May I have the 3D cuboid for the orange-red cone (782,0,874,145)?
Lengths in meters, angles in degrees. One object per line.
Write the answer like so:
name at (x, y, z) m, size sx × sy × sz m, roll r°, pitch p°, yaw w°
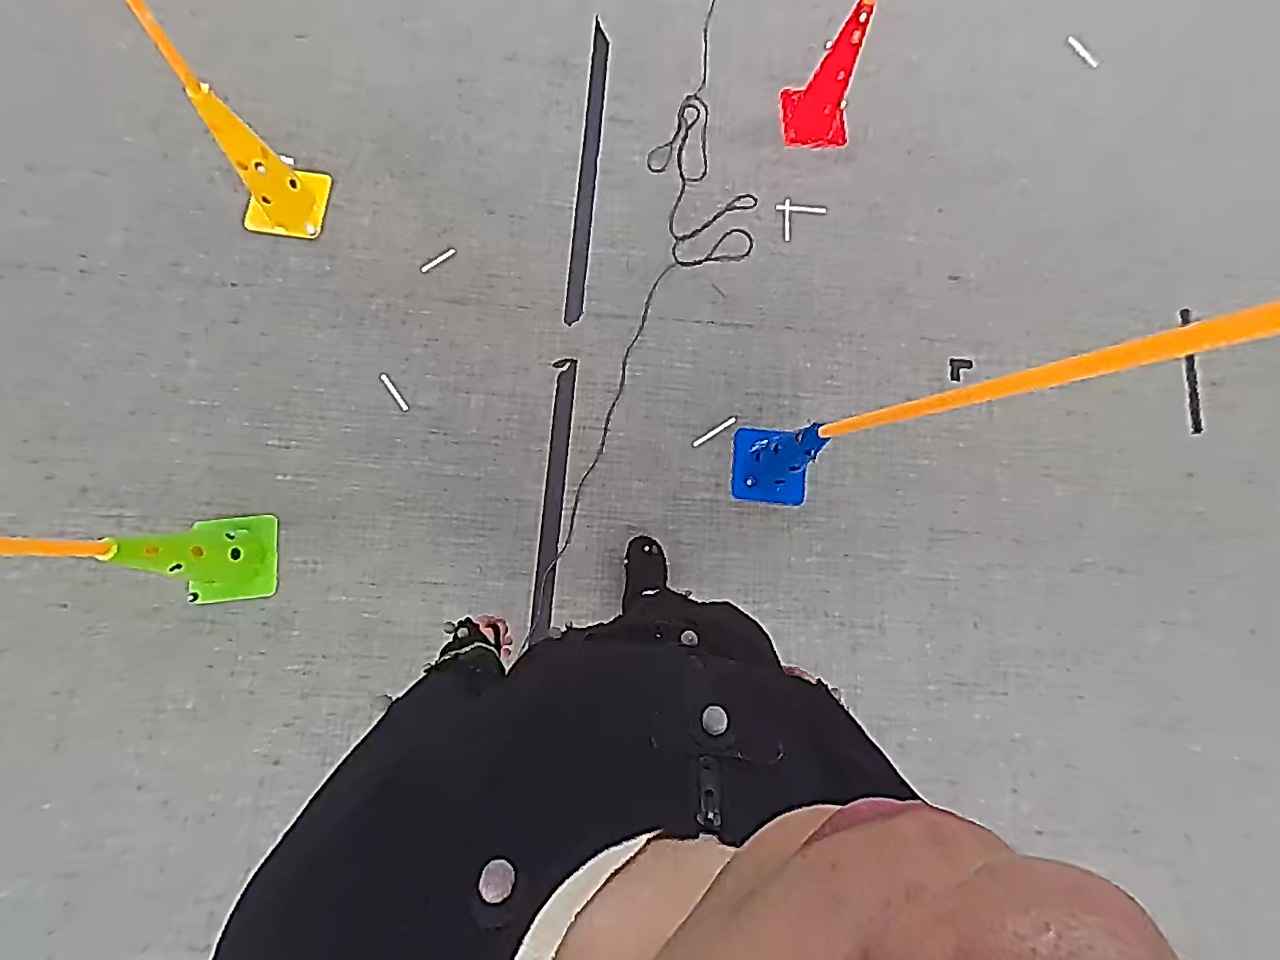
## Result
orange-red cone at (0.548, -1.153, 1.503) m, size 0.199 × 0.360 × 0.198 m, roll -1°, pitch 79°, yaw -3°

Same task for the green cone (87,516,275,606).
green cone at (-0.975, 0.156, 1.139) m, size 0.200 × 0.368 × 0.202 m, roll -6°, pitch 78°, yaw -6°

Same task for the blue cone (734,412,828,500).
blue cone at (0.360, -0.077, 1.298) m, size 0.193 × 0.380 × 0.192 m, roll 7°, pitch 78°, yaw -3°
